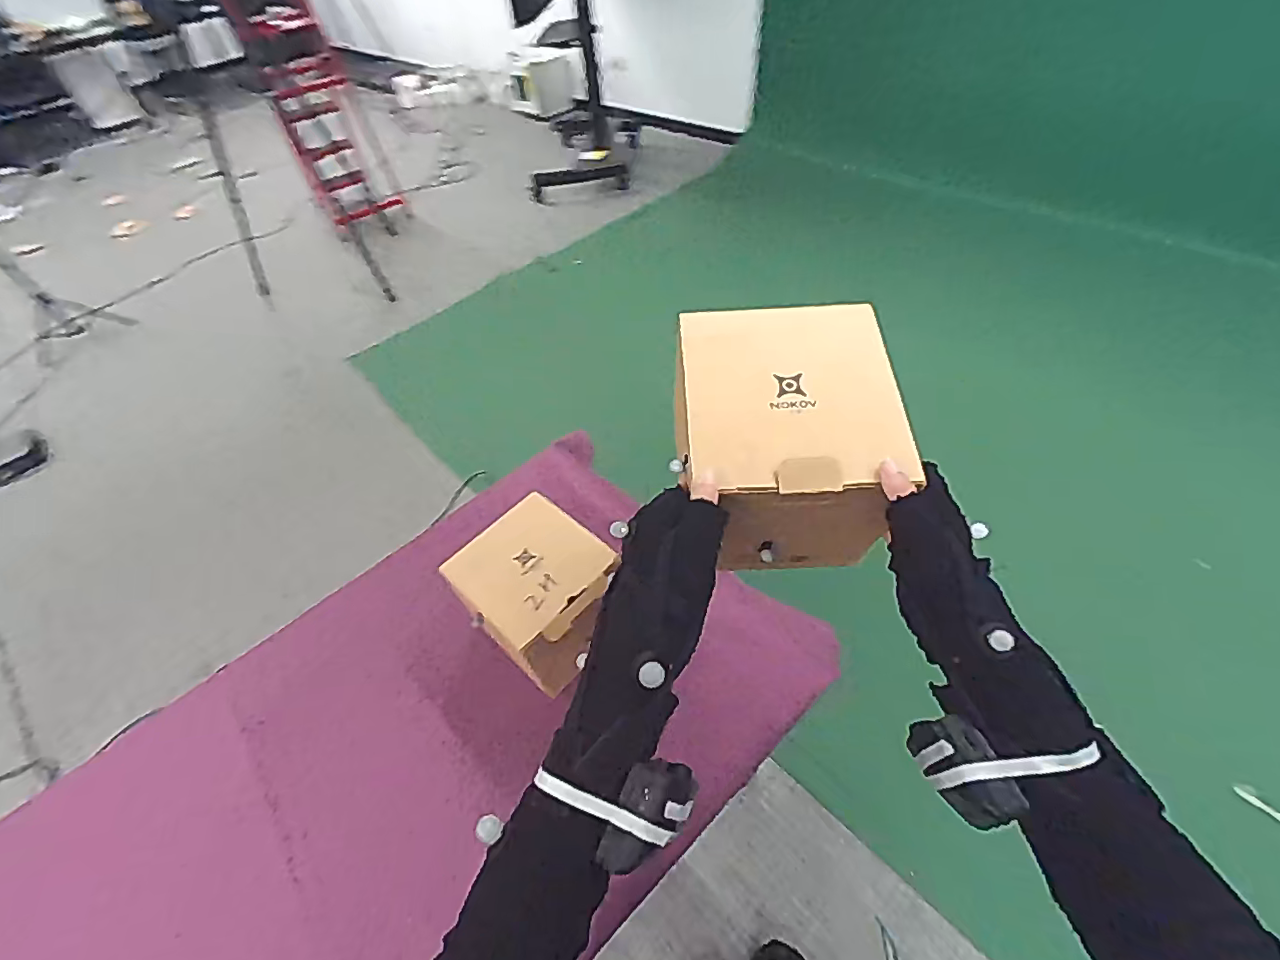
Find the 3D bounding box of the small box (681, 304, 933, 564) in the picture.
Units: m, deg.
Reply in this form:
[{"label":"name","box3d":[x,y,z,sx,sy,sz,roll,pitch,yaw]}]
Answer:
[{"label":"small box","box3d":[0.125,-0.034,0.487,0.168,0.176,0.179,-1,63,1]}]

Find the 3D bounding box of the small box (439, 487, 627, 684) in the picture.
[{"label":"small box","box3d":[-0.138,0.149,0.750,0.179,0.176,0.168,34,62,28]}]
